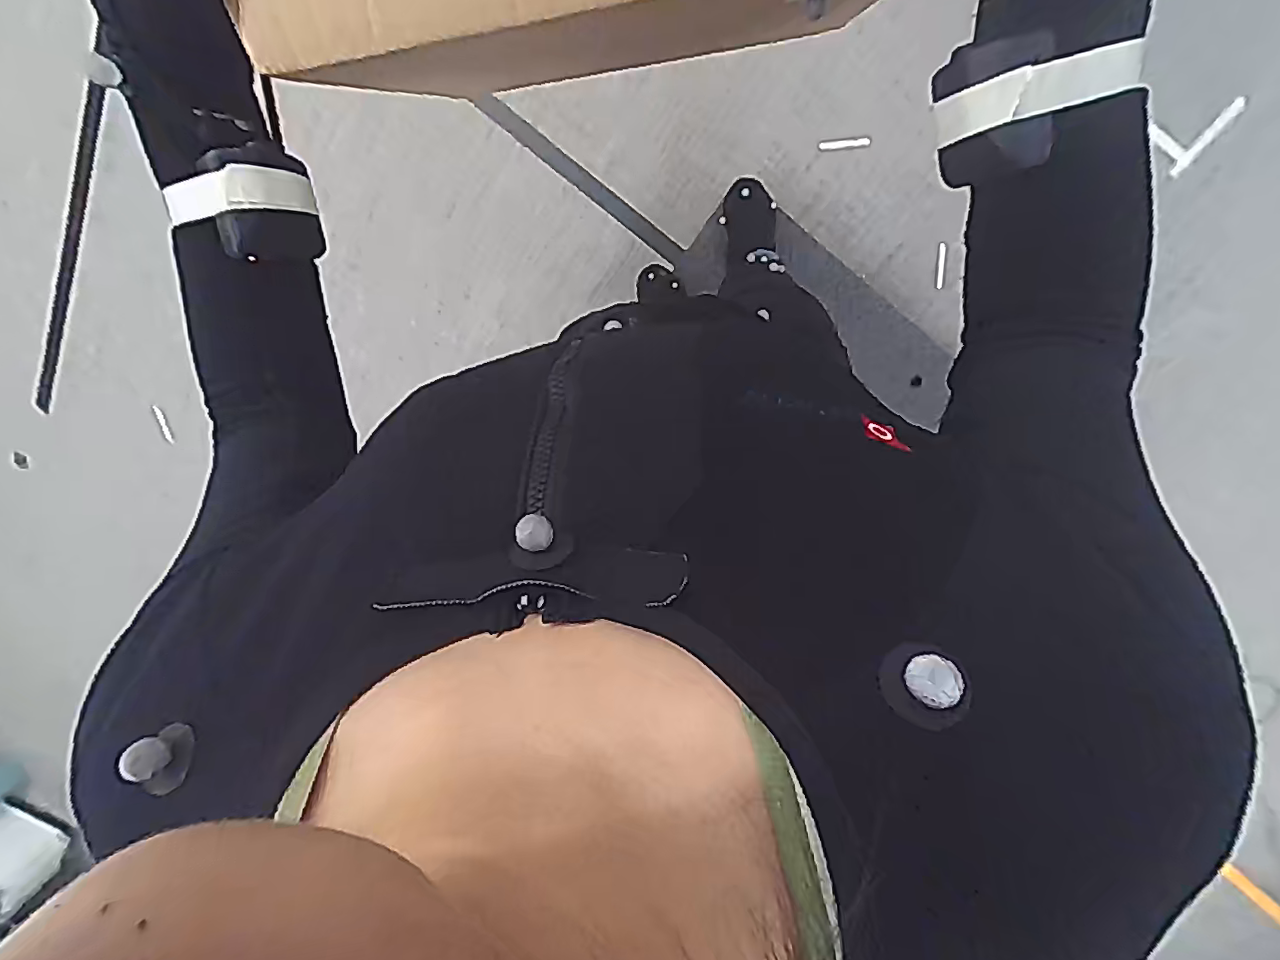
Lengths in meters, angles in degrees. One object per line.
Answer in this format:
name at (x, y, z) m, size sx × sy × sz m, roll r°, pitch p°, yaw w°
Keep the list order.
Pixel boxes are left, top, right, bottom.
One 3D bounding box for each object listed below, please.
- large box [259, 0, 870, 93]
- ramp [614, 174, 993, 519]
large box at (-0.028, -0.470, 0.347) m, size 0.408 × 0.320 × 0.320 m, roll -3°, pitch 122°, yaw 8°
ramp at (0.471, -0.291, 1.478) m, size 0.991 × 0.206 × 0.509 m, roll 33°, pitch 112°, yaw -8°
